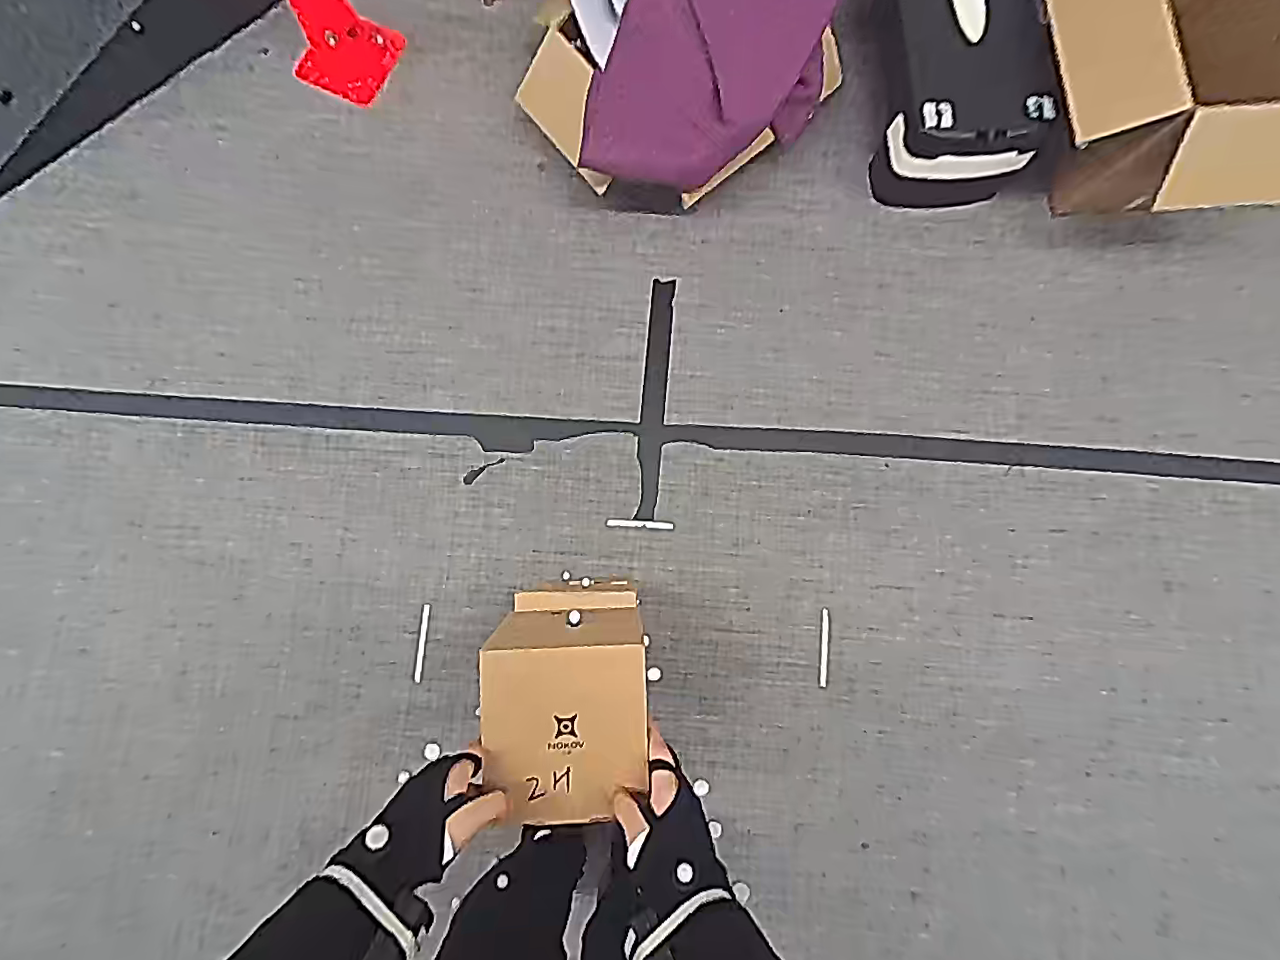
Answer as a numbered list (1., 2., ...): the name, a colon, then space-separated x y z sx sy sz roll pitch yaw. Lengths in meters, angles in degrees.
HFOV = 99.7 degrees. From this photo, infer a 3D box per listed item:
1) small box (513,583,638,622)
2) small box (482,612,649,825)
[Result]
1. small box: -0.091 0.250 0.833 0.179 0.176 0.168 -1 83 0
2. small box: -0.078 0.250 0.613 0.168 0.176 0.179 -2 89 -3
